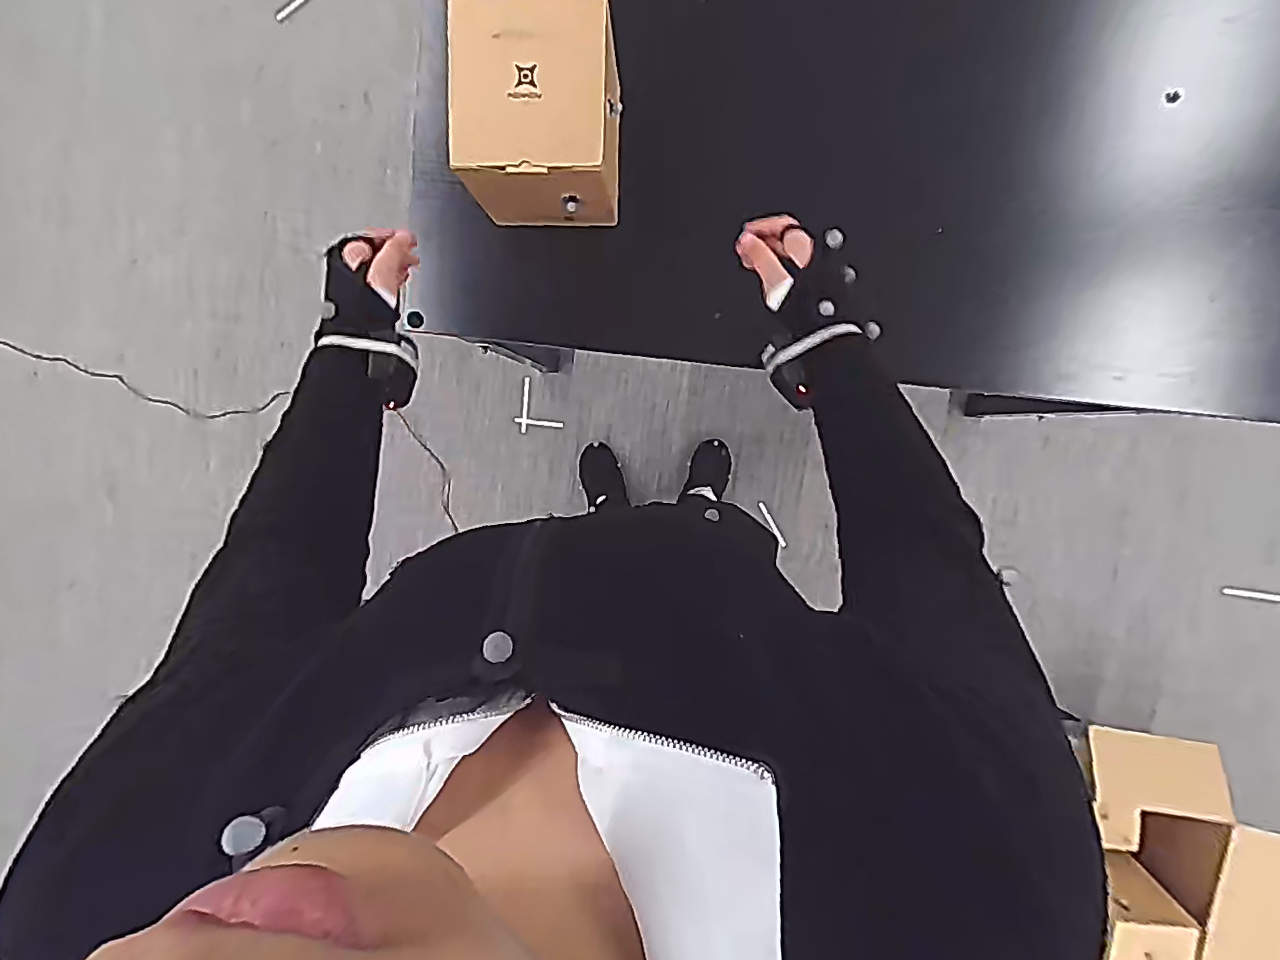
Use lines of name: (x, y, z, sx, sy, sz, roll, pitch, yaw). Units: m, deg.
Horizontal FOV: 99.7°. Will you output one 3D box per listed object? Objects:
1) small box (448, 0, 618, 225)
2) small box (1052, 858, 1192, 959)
small box: (-0.115, -0.419, 0.641, 0.168, 0.176, 0.179, 1, 95, 2)
small box: (1.114, 1.027, 1.266, 0.179, 0.176, 0.168, 1, 100, 3)
